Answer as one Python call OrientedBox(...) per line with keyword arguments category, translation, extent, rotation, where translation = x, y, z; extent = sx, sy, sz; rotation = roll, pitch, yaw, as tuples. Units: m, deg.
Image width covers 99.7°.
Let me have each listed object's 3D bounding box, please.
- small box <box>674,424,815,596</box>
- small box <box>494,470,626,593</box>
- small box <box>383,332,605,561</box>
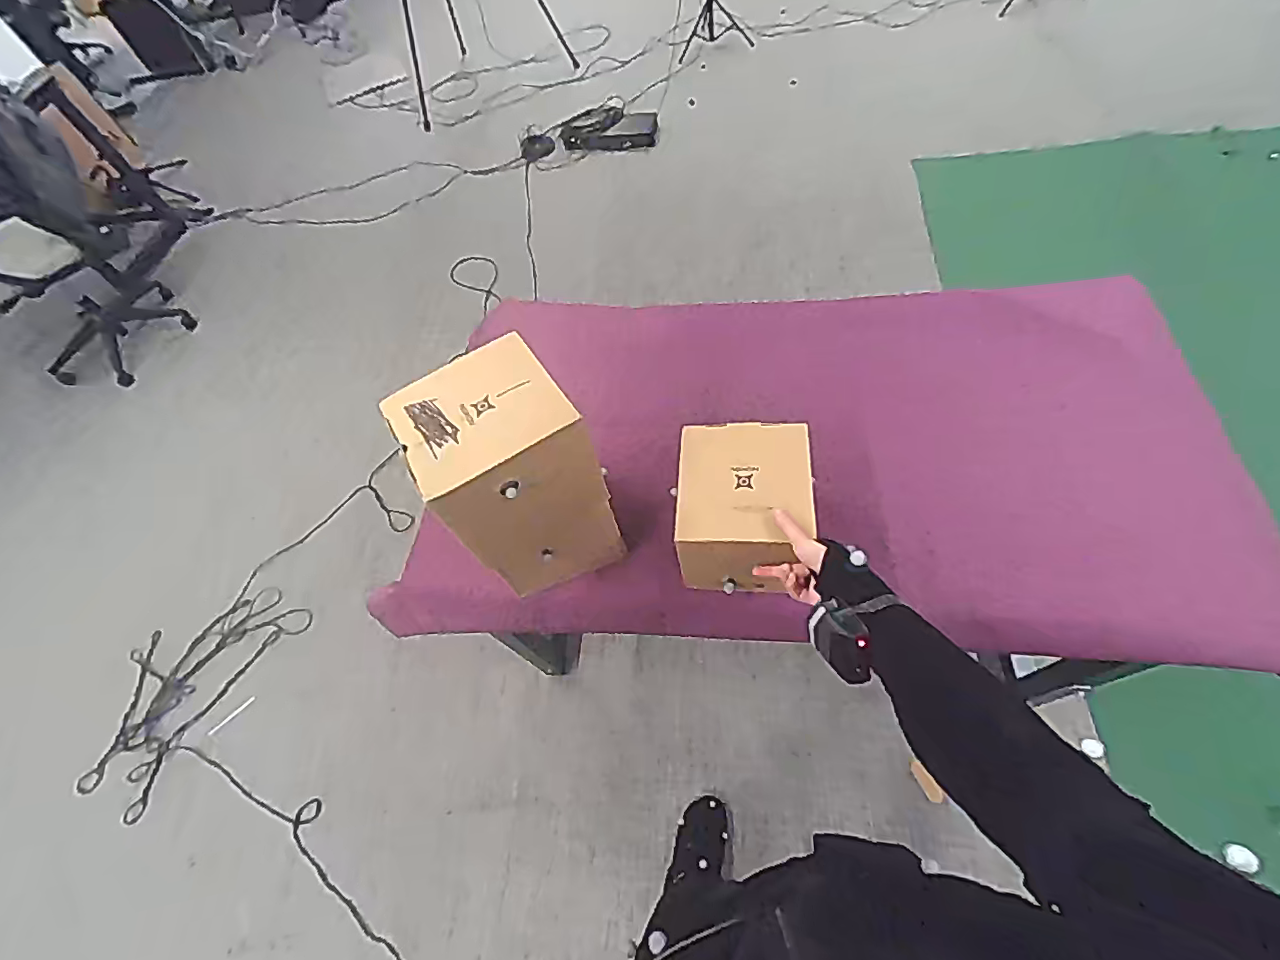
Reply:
OrientedBox(category="small box", translation=(0.141, 0.042, 0.740), extent=(0.168, 0.176, 0.179), rotation=(0, 58, 11))
OrientedBox(category="small box", translation=(-0.136, 0.041, 0.786), extent=(0.179, 0.176, 0.168), rotation=(-21, 57, -4))
OrientedBox(category="small box", translation=(-0.162, -0.033, 0.640), extent=(0.179, 0.176, 0.168), rotation=(-31, 58, -11))
